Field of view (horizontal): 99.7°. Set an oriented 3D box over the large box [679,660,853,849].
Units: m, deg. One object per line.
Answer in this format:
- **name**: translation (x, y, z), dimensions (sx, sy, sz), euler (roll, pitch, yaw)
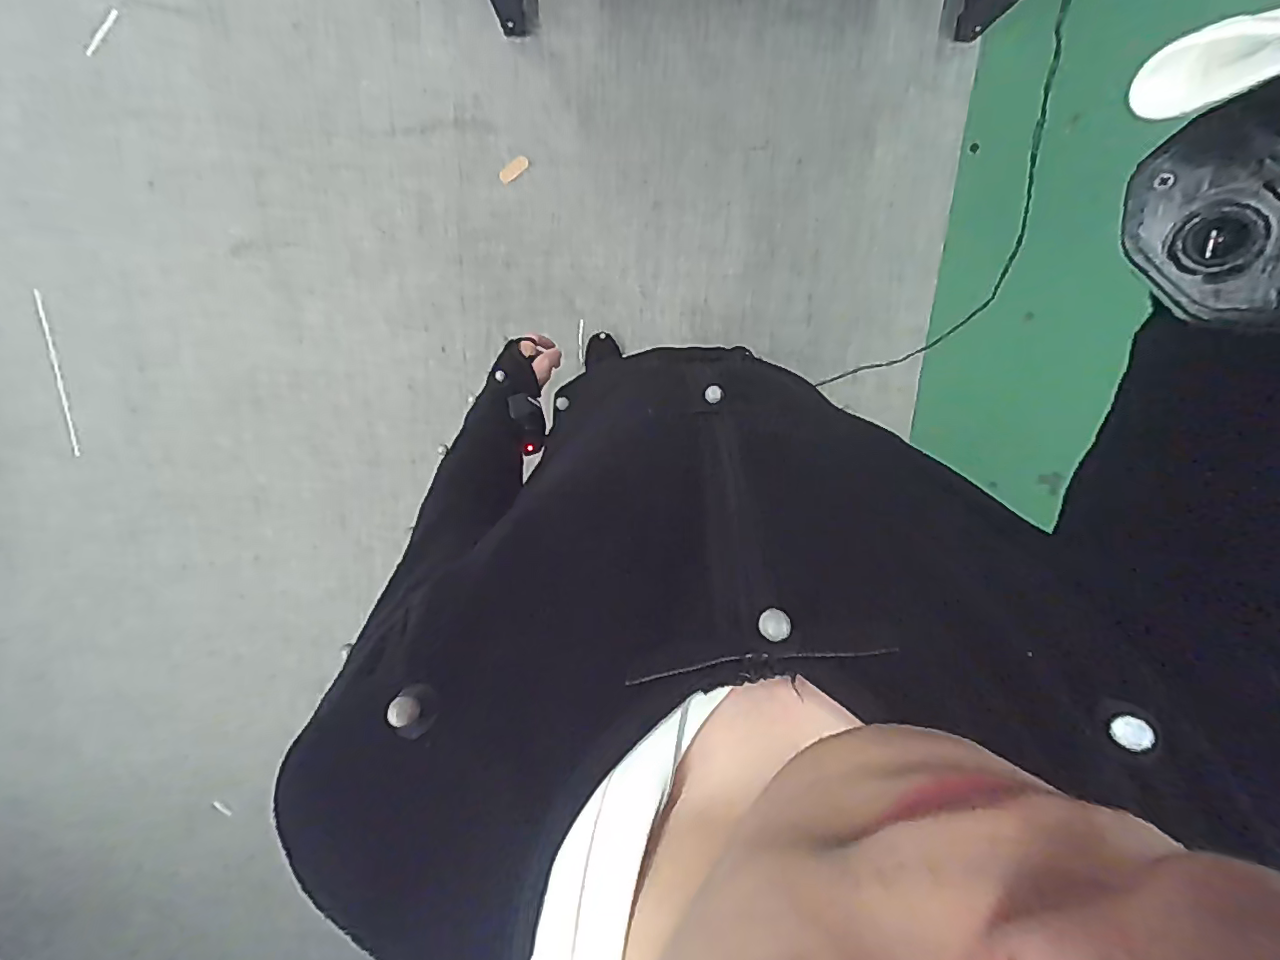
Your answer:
- **large box**: translation (0.379, 0.855, 1.721), dimensions (0.408, 0.320, 0.320), euler (-29, 103, 6)
